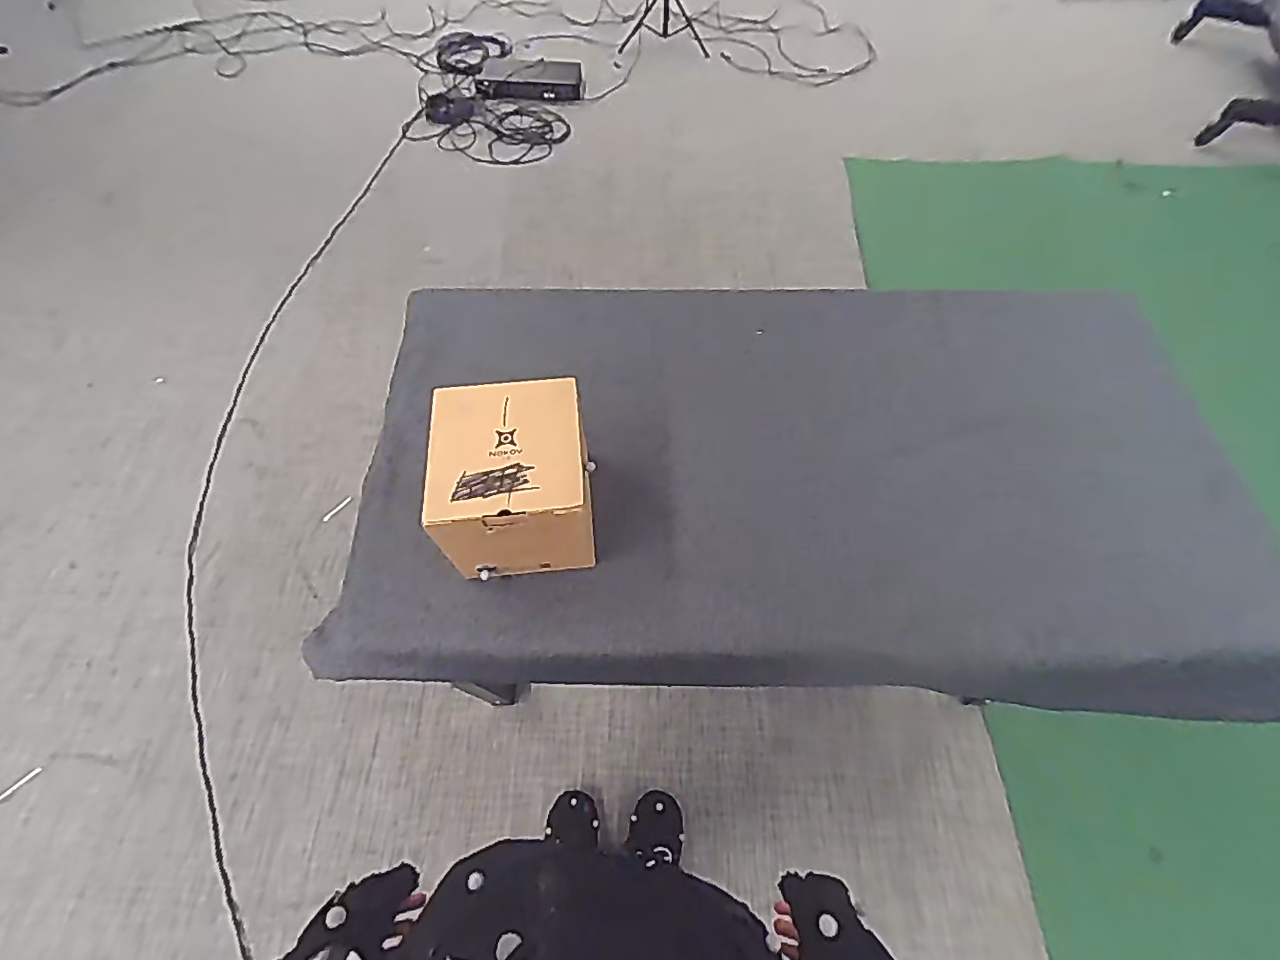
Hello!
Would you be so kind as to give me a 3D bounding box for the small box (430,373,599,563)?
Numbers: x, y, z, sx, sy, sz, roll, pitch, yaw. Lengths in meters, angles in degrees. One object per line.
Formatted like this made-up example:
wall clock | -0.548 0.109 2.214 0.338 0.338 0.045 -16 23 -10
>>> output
small box | -0.142 -0.005 0.663 0.168 0.176 0.179 -5 61 -3
